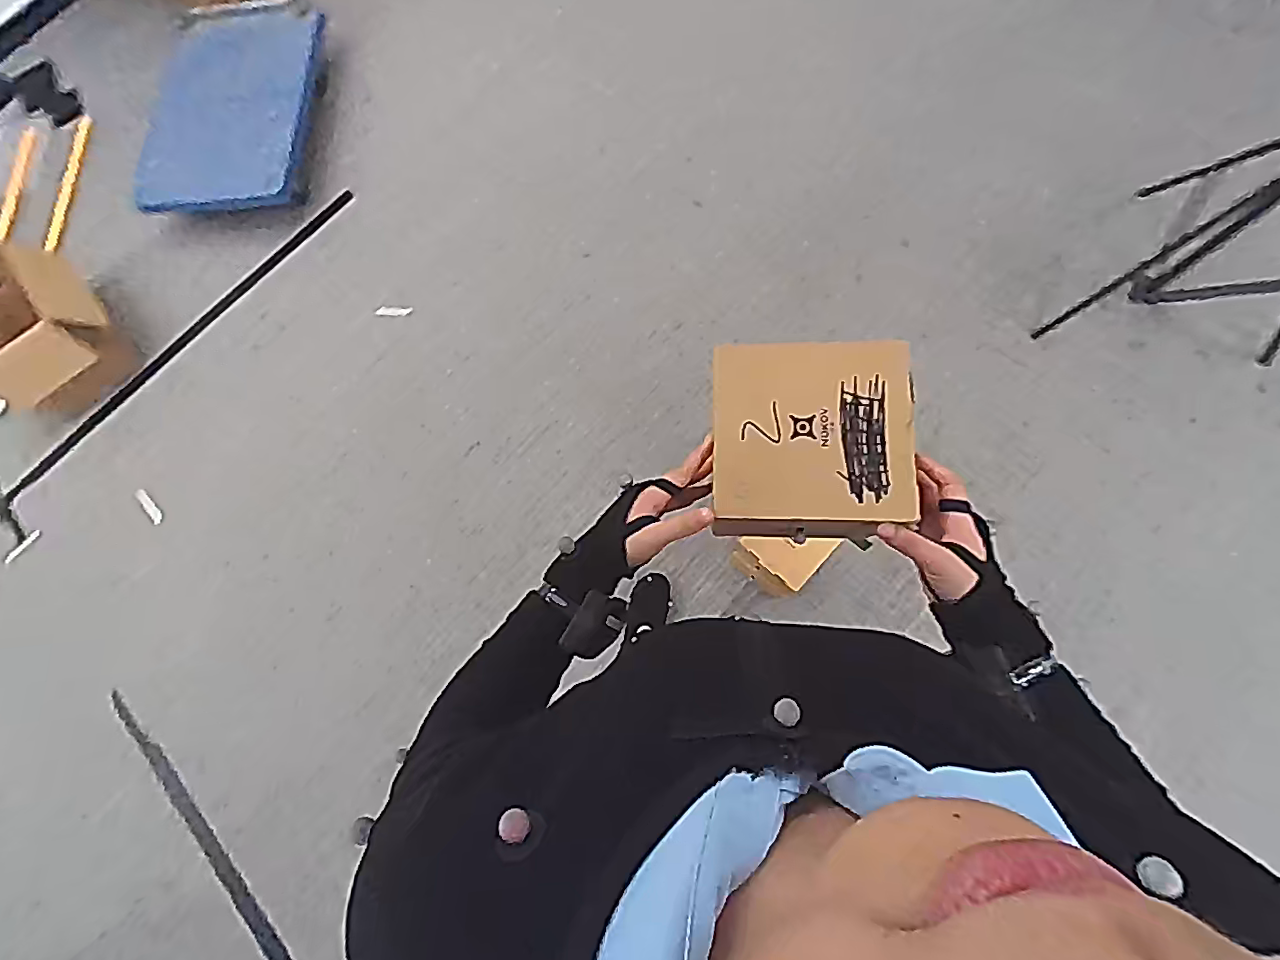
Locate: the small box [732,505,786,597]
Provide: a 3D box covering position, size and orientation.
[{"bbox_3d":[0.360,0.193,1.429,0.168,0.176,0.179,40,83,14],"label":"small box"}]

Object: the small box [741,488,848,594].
[{"bbox_3d":[0.351,0.148,1.272,0.168,0.176,0.179,42,85,15],"label":"small box"}]
